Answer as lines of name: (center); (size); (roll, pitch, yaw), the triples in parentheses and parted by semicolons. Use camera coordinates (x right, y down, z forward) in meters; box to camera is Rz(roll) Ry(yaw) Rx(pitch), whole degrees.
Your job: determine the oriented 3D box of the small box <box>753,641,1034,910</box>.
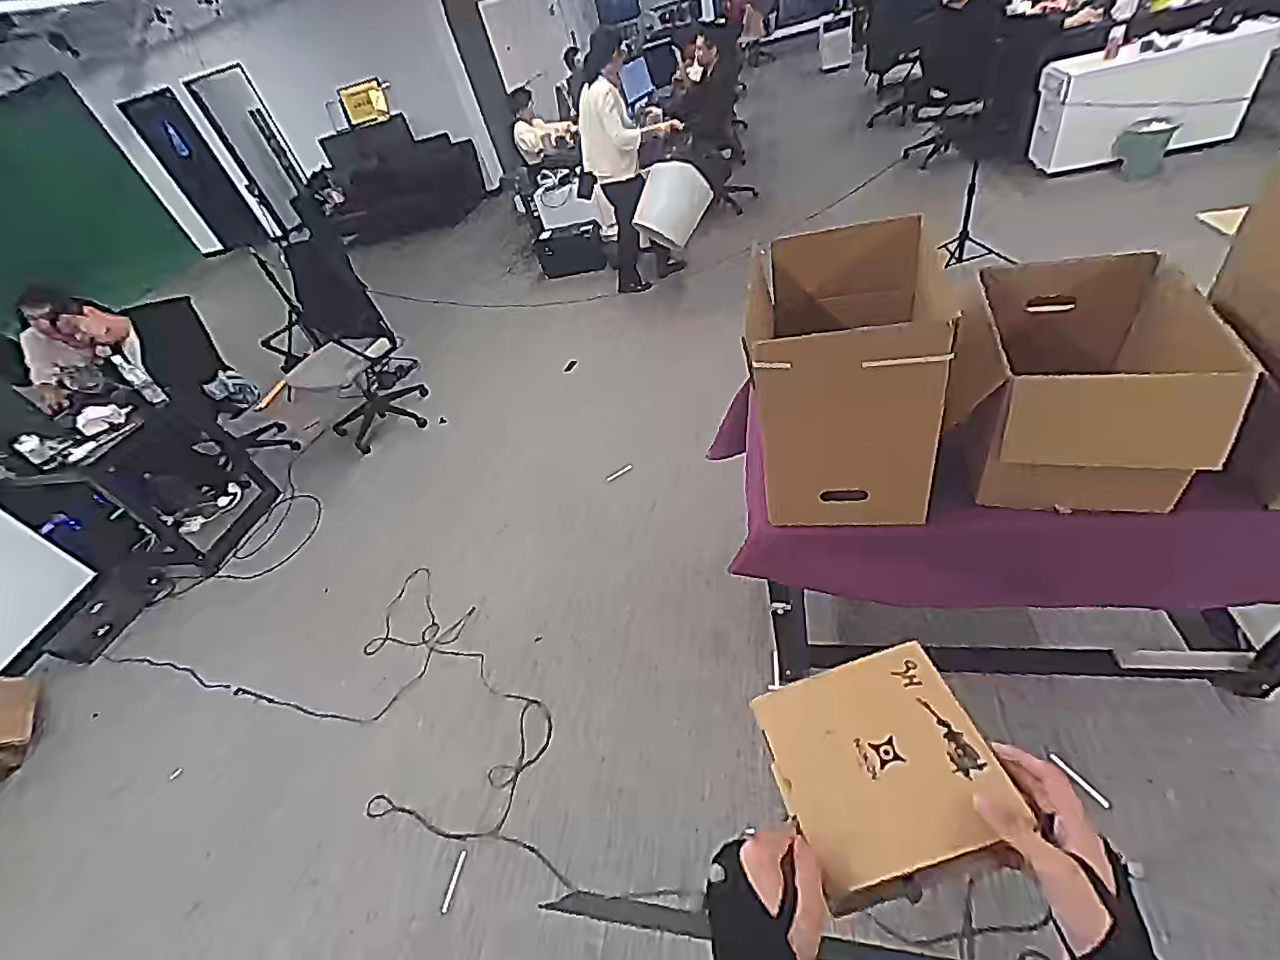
small box: (0.232, 0.293, 0.531); (0.179, 0.176, 0.168); (-21, 45, 3)
